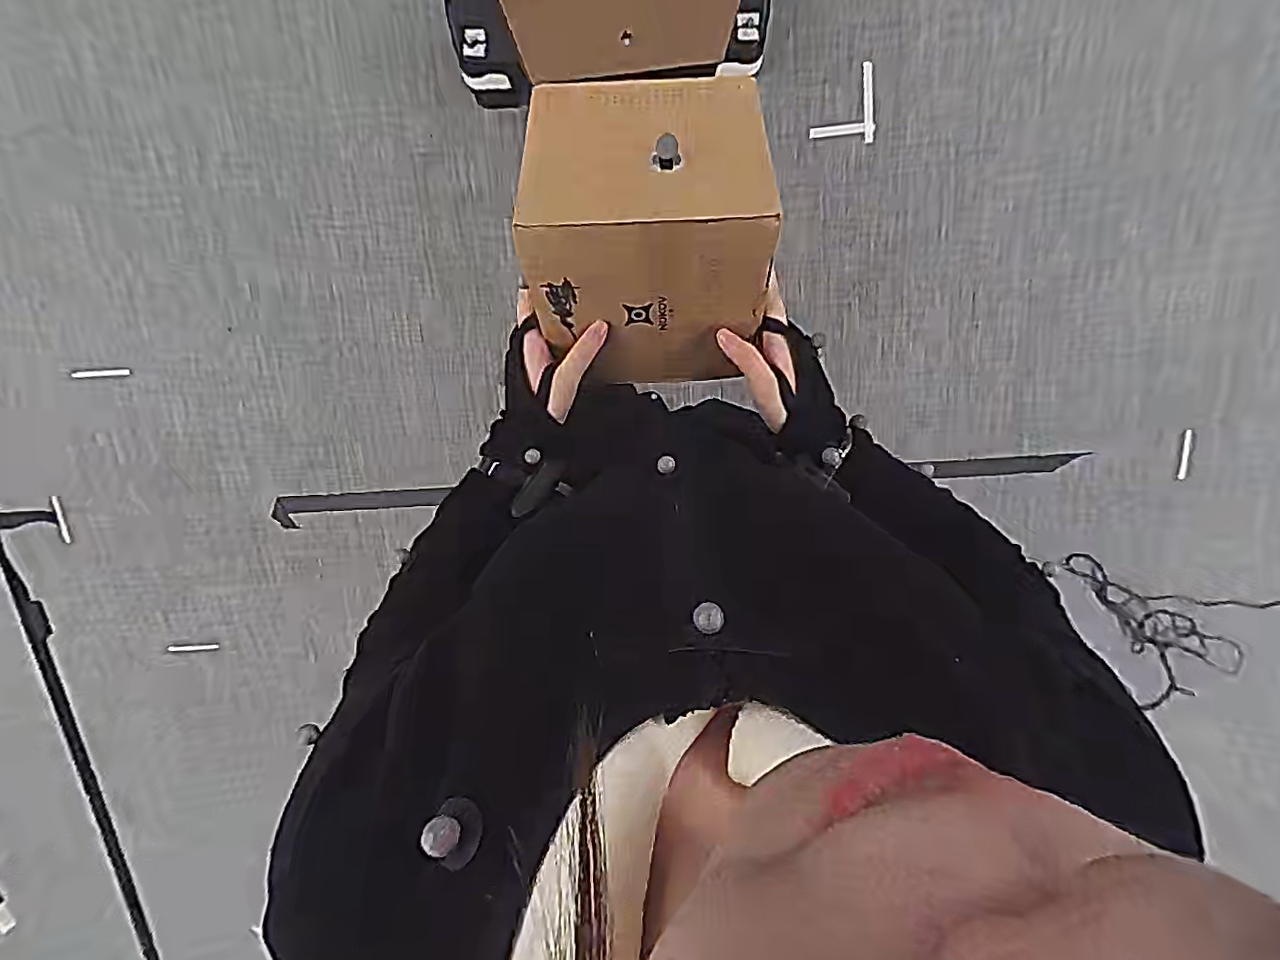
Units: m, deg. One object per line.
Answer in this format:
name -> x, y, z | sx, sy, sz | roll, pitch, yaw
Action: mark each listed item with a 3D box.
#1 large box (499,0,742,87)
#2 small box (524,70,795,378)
large box -> -0.041, -0.948, 0.937 | 0.408, 0.320, 0.320 | -7, 102, 2
small box -> 0.011, -0.204, 0.445 | 0.179, 0.168, 0.176 | -2, 61, 1
